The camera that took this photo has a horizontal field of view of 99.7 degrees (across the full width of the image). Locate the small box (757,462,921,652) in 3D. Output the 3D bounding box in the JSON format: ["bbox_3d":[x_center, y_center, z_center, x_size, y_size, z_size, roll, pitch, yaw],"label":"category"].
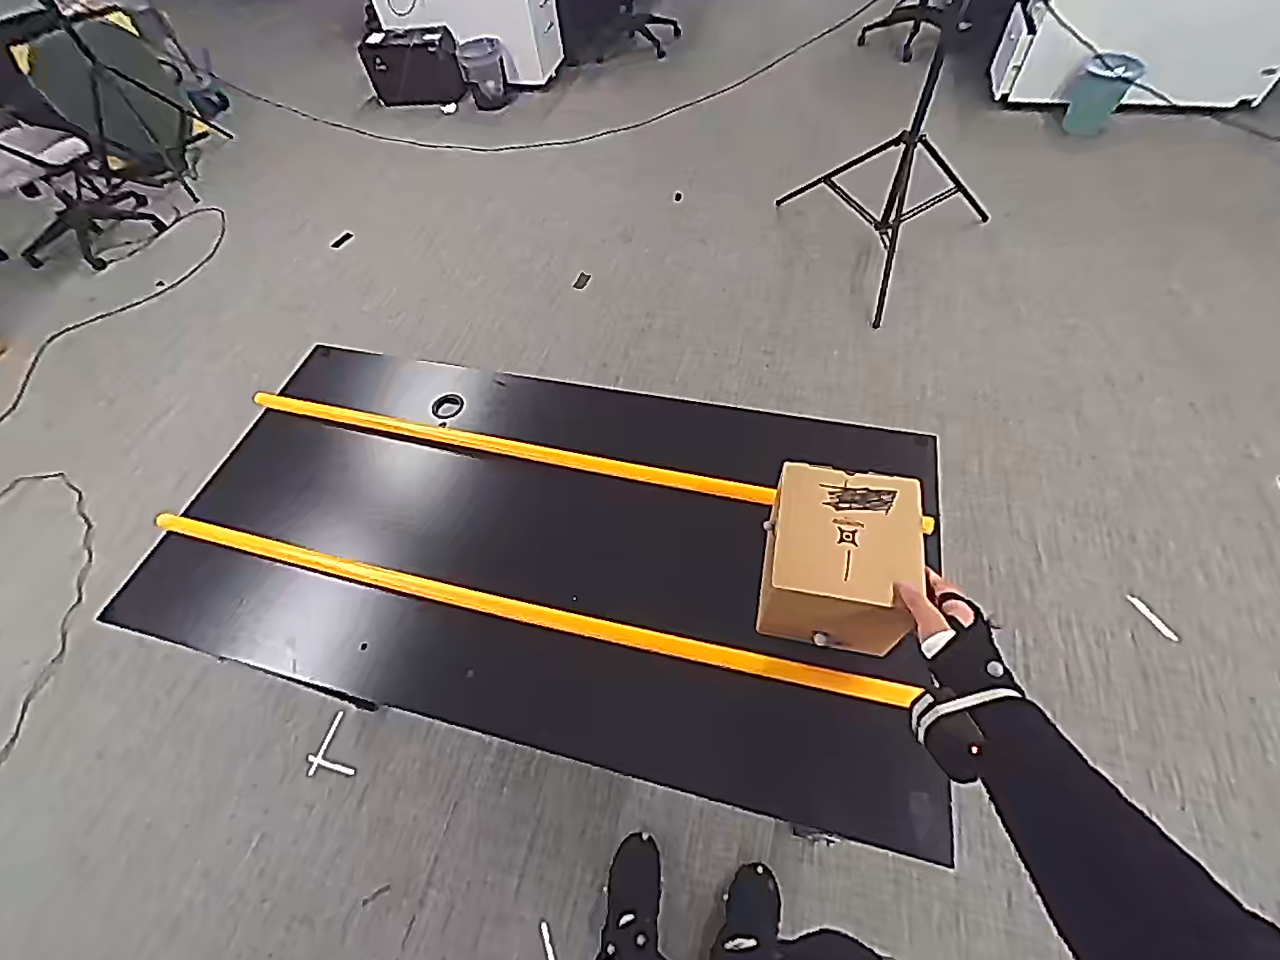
[{"bbox_3d":[0.250,0.103,0.708,0.168,0.176,0.179,8,58,11],"label":"small box"}]
